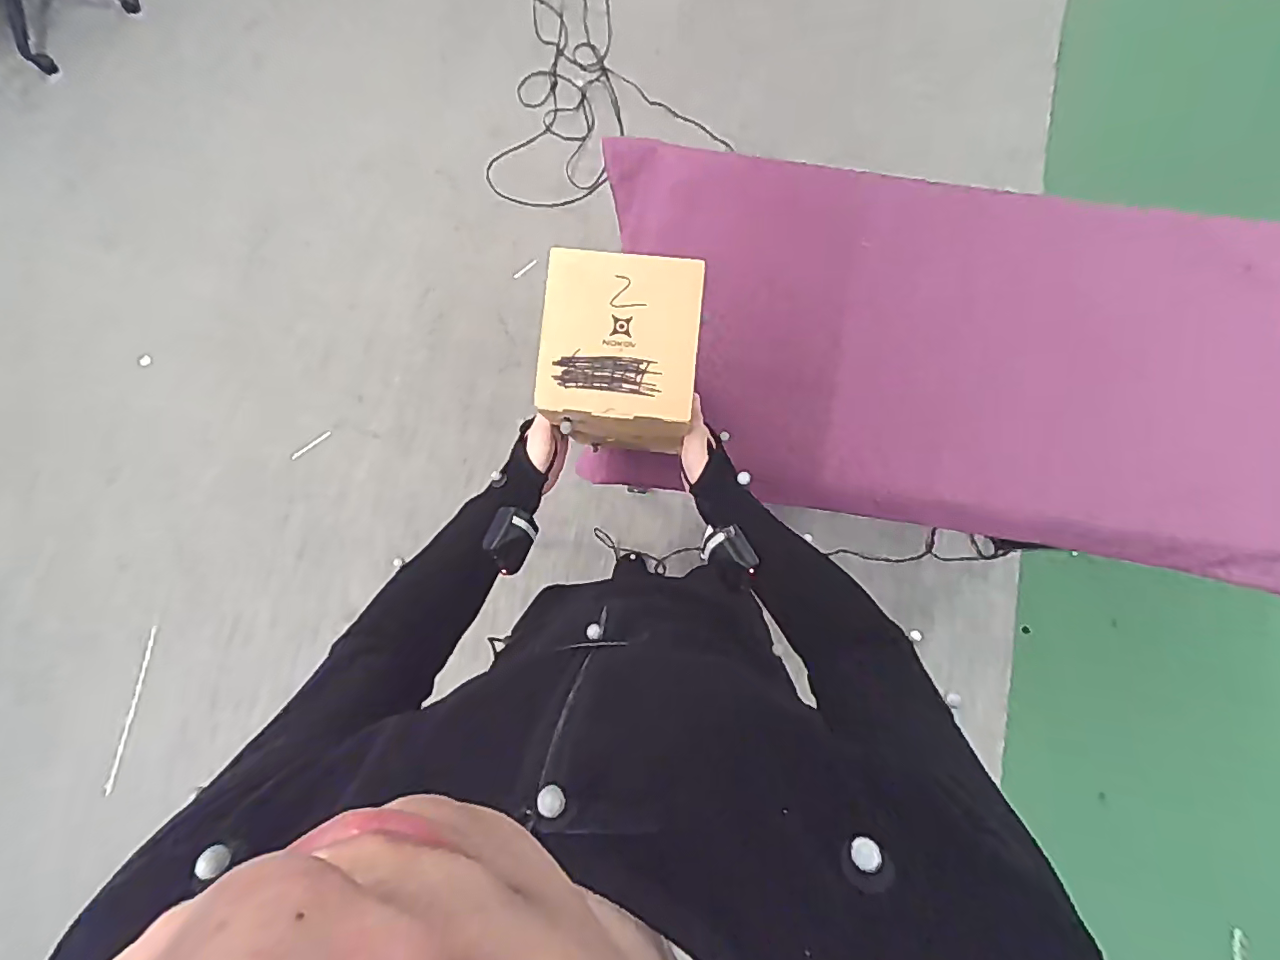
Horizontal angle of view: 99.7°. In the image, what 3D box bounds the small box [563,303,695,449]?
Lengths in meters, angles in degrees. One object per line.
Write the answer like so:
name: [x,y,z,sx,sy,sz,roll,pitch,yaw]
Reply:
small box: [-0.012,-0.144,0.807,0.168,0.176,0.179,5,87,1]
